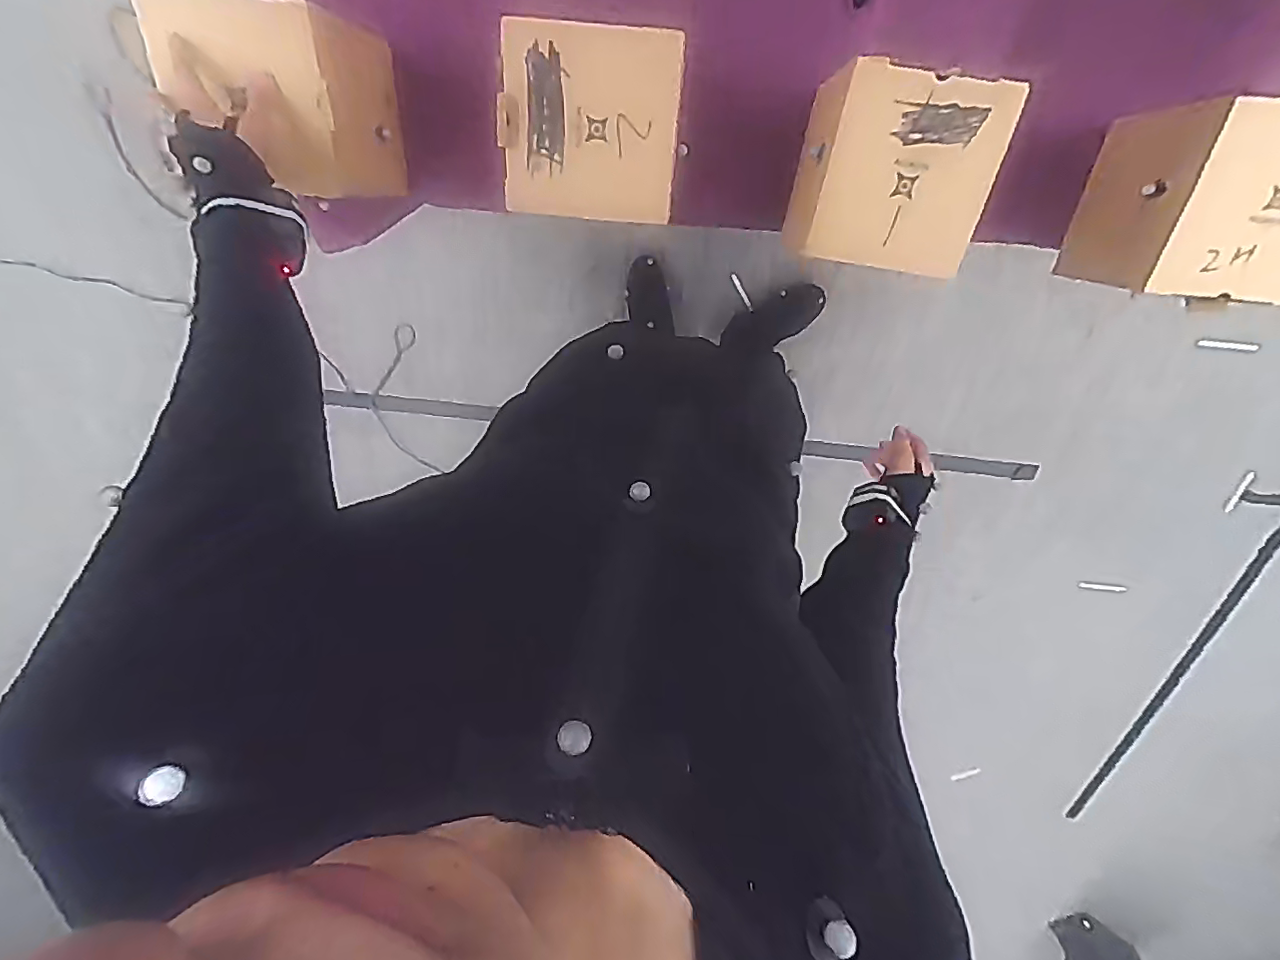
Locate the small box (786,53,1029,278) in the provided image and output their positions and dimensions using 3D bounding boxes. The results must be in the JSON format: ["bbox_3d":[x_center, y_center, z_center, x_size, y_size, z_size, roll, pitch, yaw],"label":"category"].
[{"bbox_3d":[0.274,-0.341,0.607,0.168,0.176,0.179,9,119,0],"label":"small box"}]

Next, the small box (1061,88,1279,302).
[{"bbox_3d":[0.622,-0.305,0.597,0.168,0.176,0.179,7,118,3],"label":"small box"}]

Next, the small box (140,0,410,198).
[{"bbox_3d":[-0.392,-0.421,0.618,0.179,0.176,0.168,4,117,1],"label":"small box"}]
